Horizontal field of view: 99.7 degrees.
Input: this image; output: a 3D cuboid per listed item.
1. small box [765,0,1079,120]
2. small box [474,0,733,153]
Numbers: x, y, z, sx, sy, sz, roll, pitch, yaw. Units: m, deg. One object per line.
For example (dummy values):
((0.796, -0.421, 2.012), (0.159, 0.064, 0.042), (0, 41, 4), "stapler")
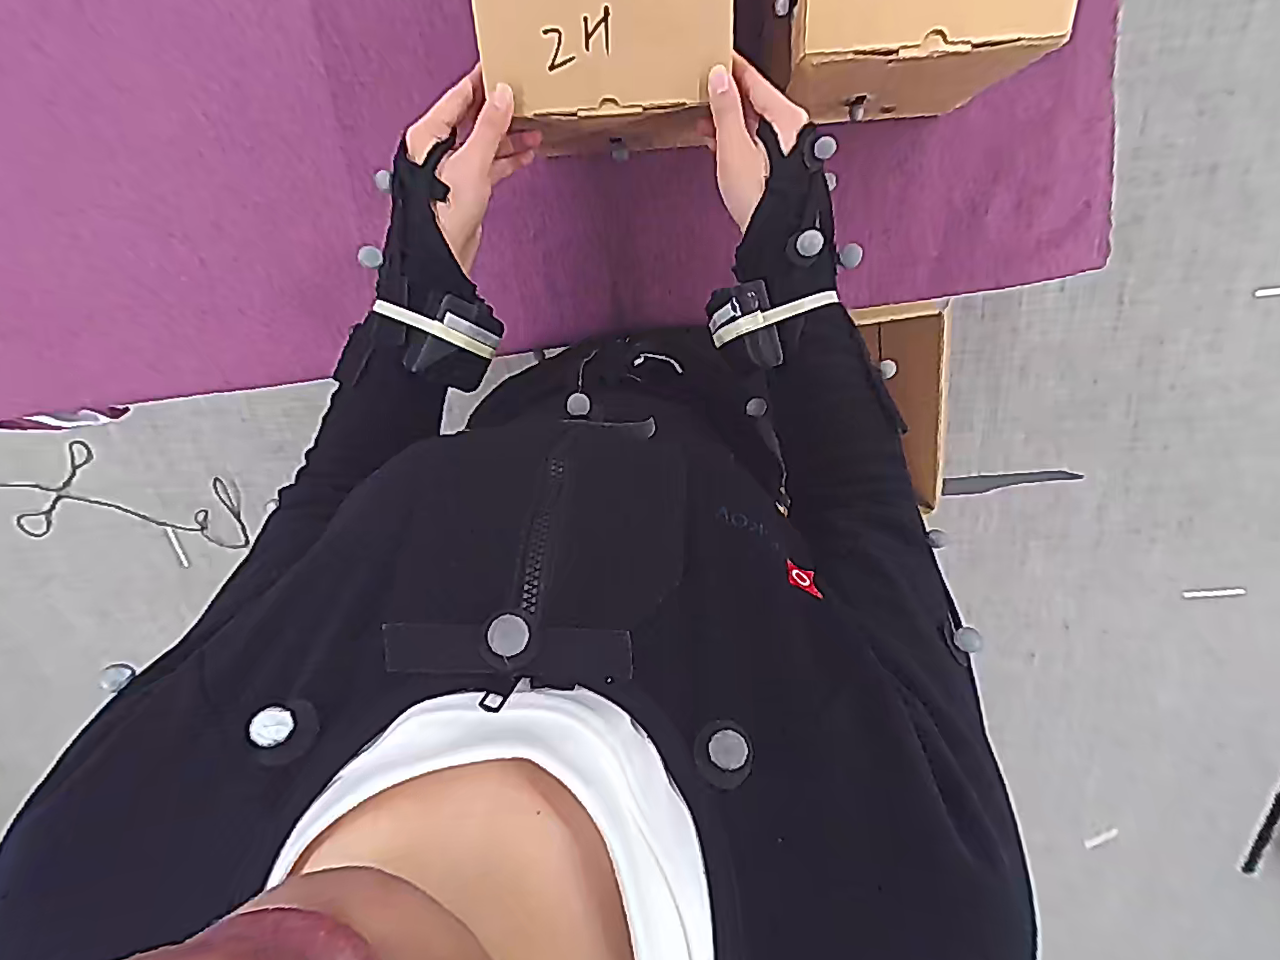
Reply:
((0.185, -0.382, 0.383), (0.168, 0.176, 0.179), (-2, 111, 5), "small box")
((-0.023, -0.360, 0.400), (0.168, 0.176, 0.179), (-2, 114, 3), "small box")
